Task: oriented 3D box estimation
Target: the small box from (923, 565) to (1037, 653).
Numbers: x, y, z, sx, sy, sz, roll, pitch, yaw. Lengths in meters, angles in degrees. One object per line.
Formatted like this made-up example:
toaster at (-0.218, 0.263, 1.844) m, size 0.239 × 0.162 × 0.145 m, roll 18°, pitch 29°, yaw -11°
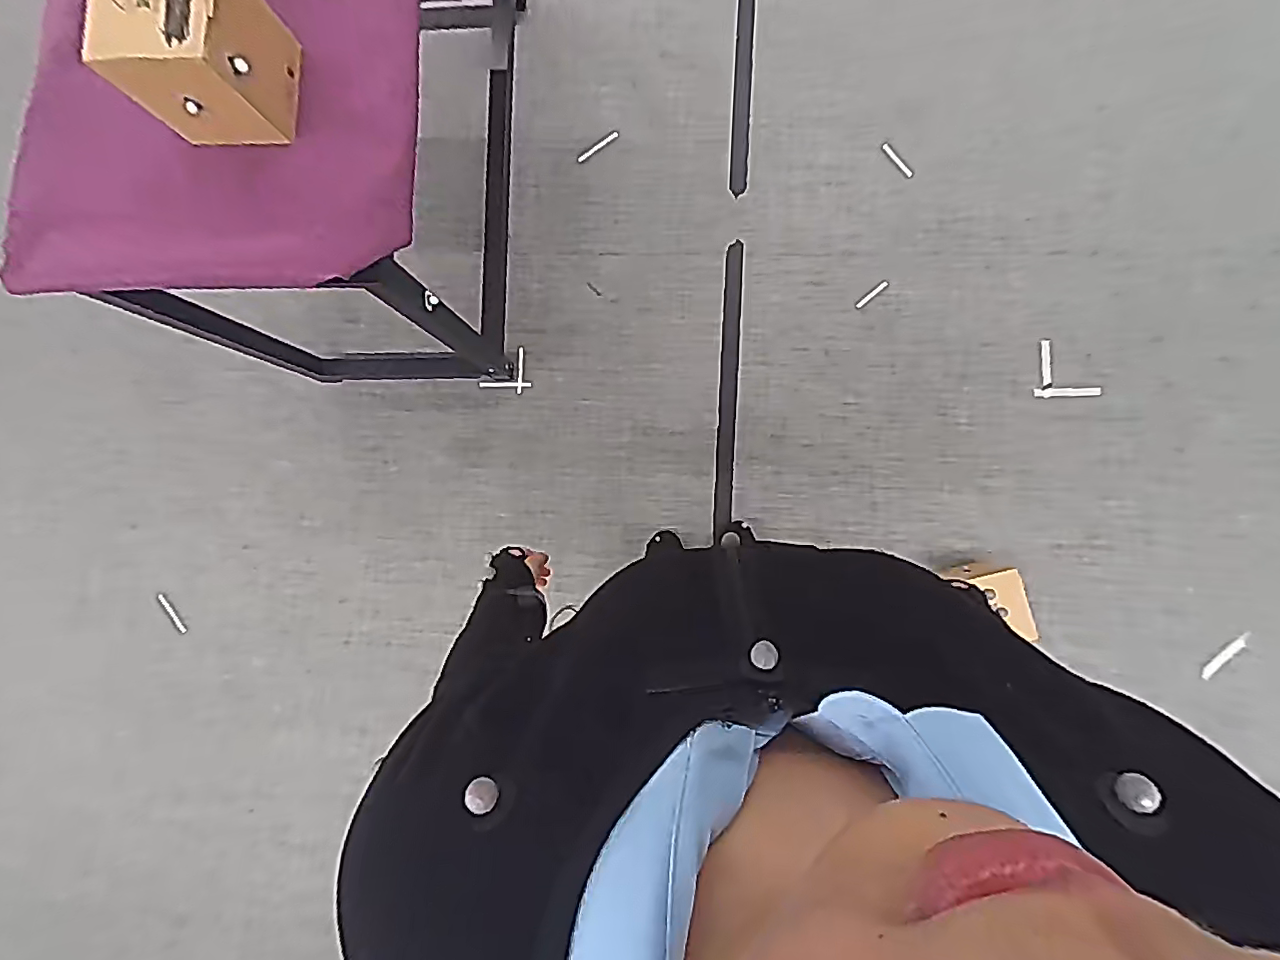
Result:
small box at (0.851, 0.318, 1.374) m, size 0.168 × 0.176 × 0.179 m, roll -14°, pitch 86°, yaw 2°
